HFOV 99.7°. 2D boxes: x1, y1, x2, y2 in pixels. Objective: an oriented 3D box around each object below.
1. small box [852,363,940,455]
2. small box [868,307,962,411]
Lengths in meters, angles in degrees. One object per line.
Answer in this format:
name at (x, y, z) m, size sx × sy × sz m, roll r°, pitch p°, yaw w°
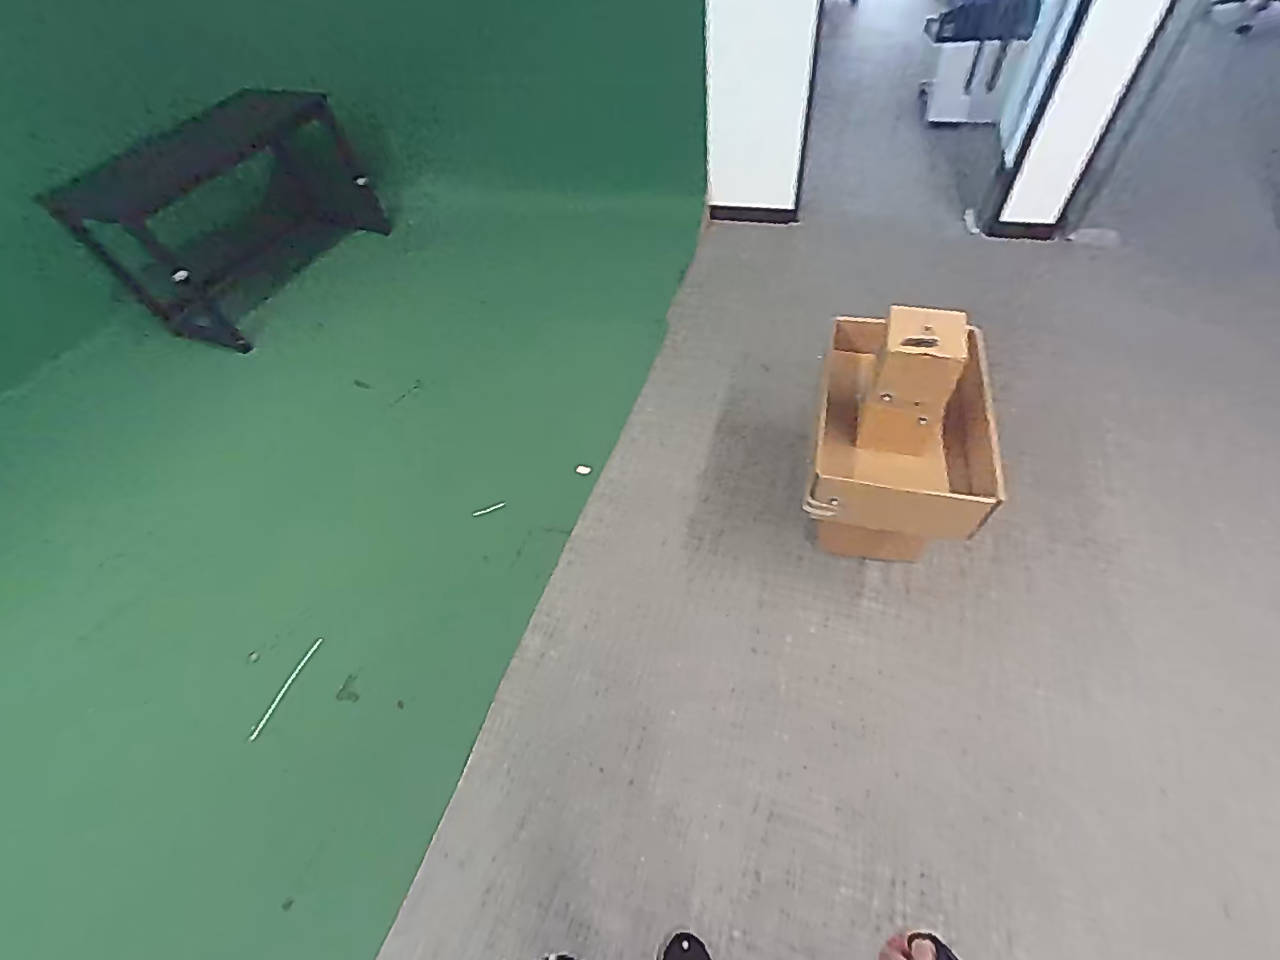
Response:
small box at (0.669, -0.184, 1.429) m, size 0.179 × 0.176 × 0.168 m, roll 9°, pitch 54°, yaw 14°
small box at (0.657, -0.289, 1.302) m, size 0.168 × 0.176 × 0.179 m, roll 11°, pitch 54°, yaw 15°
